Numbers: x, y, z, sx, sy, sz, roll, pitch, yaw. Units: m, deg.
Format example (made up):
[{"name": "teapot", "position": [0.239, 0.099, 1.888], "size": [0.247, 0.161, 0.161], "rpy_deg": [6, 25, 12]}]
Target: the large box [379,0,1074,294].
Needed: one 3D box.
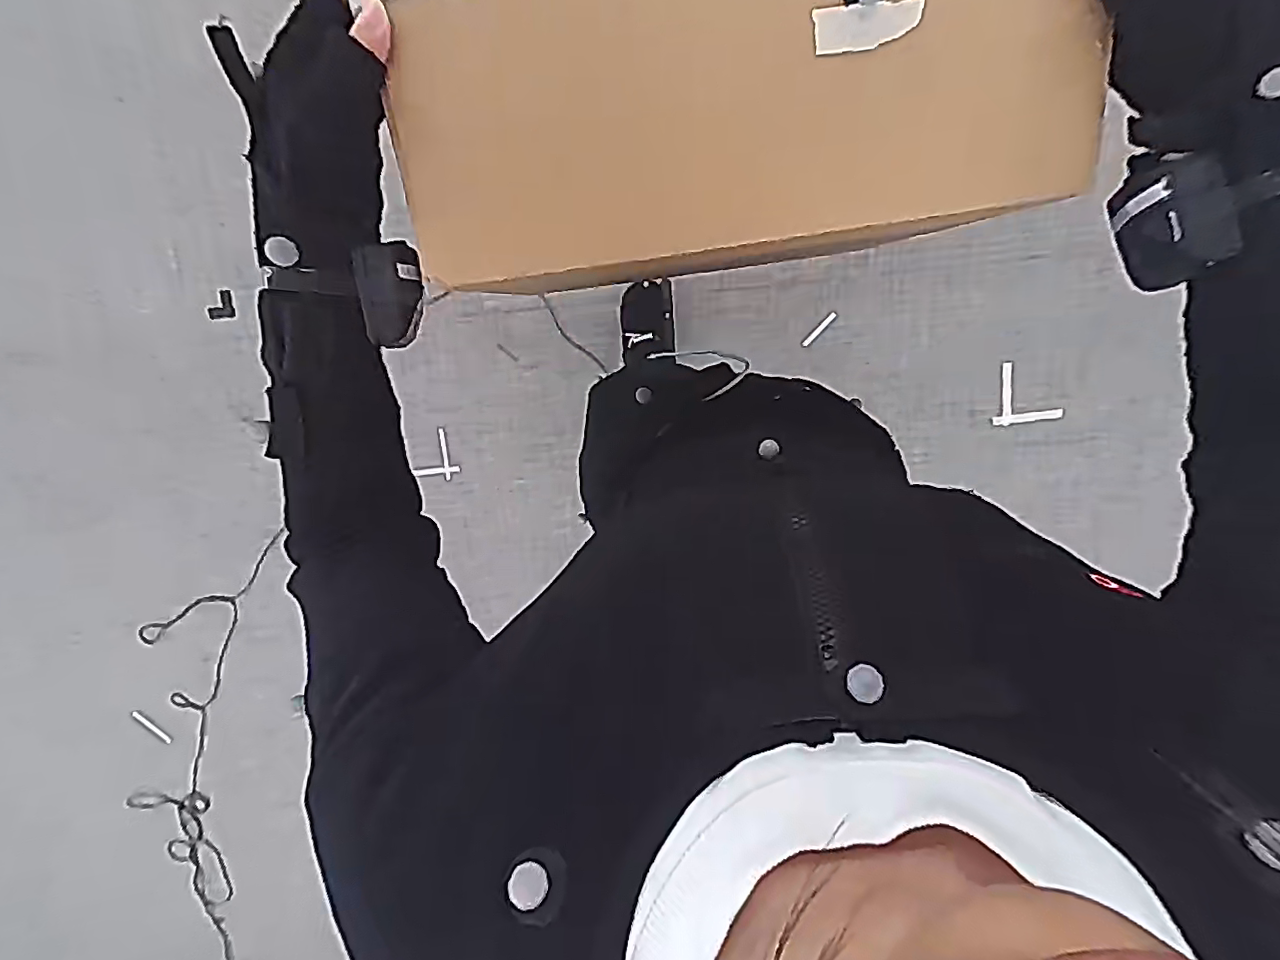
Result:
[{"name": "large box", "position": [0.042, -0.347, 0.443], "size": [0.408, 0.320, 0.320], "rpy_deg": [-8, 109, 2]}]
